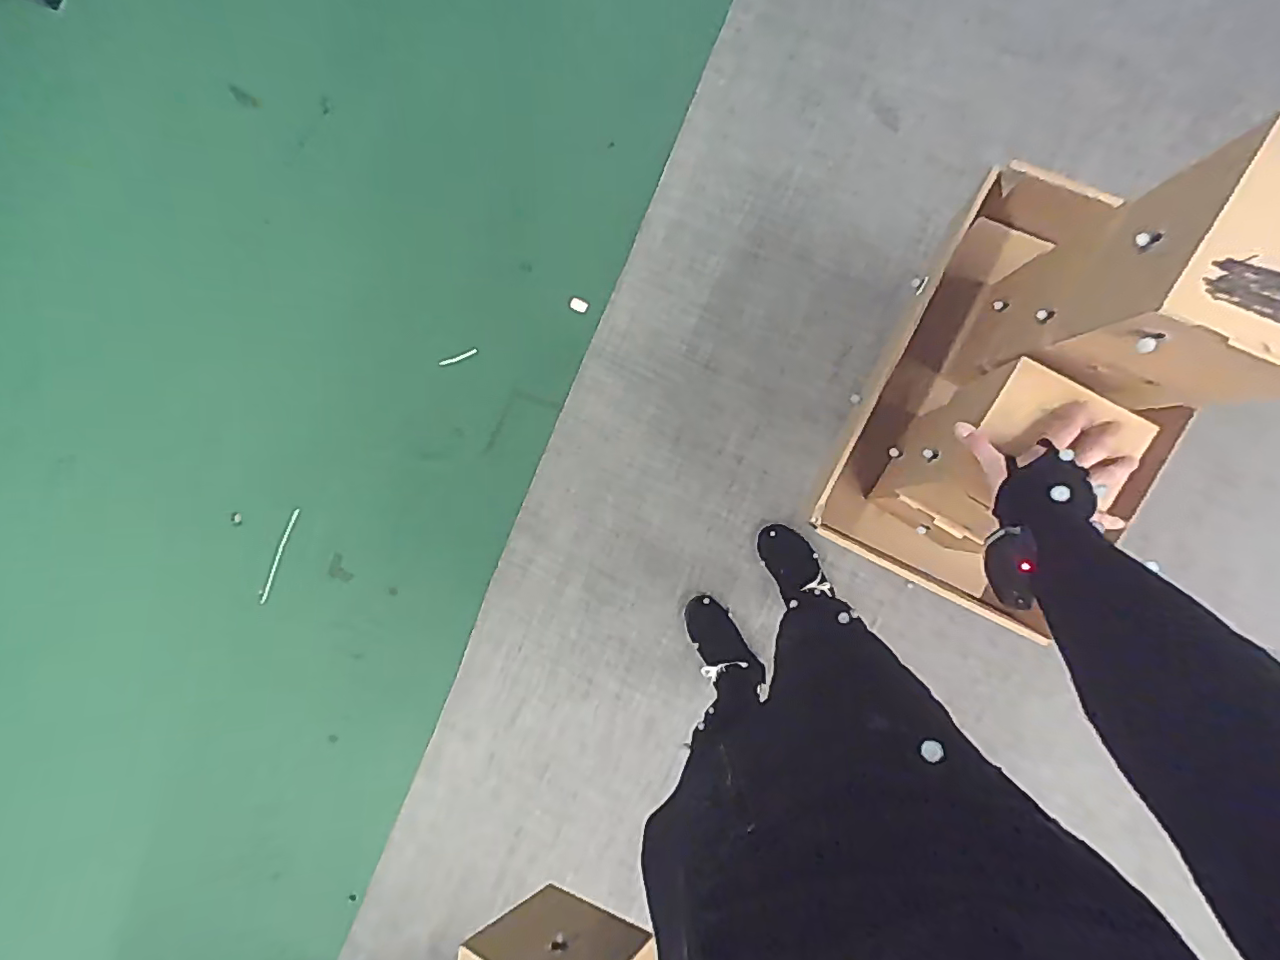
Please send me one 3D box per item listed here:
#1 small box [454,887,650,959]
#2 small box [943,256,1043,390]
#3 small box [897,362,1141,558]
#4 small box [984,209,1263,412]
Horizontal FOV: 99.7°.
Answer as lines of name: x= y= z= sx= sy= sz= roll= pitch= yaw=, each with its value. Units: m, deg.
small box: x=-0.109 y=0.631 z=0.646 sx=0.179 sy=0.176 sz=0.168 roll=0 pitch=79 yaw=30
small box: x=0.611 y=-0.209 z=0.842 sx=0.168 sy=0.176 sz=0.179 roll=27 pitch=98 yaw=8
small box: x=0.466 y=-0.019 z=0.703 sx=0.168 sy=0.176 sz=0.179 roll=33 pitch=90 yaw=7
small box: x=0.581 y=-0.198 z=0.683 sx=0.168 sy=0.176 sz=0.179 roll=26 pitch=99 yaw=7
